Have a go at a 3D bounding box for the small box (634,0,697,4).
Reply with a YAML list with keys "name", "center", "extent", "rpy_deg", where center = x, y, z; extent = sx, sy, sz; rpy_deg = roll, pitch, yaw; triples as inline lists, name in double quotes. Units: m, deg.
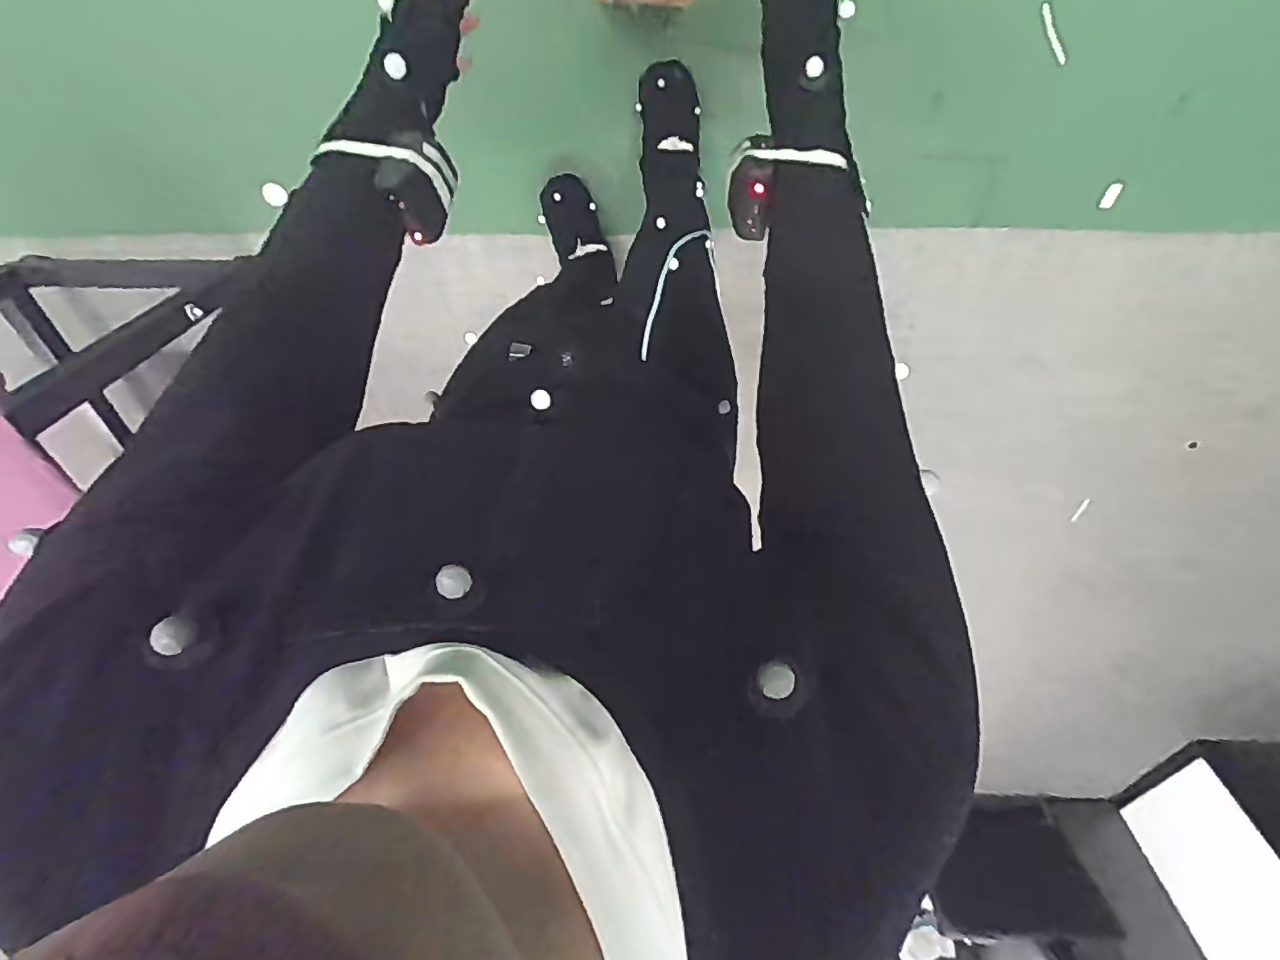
- name: "small box"
  center: [0.017, -0.890, 0.870]
  extent: [0.168, 0.176, 0.179]
  rpy_deg: [3, 131, -1]
